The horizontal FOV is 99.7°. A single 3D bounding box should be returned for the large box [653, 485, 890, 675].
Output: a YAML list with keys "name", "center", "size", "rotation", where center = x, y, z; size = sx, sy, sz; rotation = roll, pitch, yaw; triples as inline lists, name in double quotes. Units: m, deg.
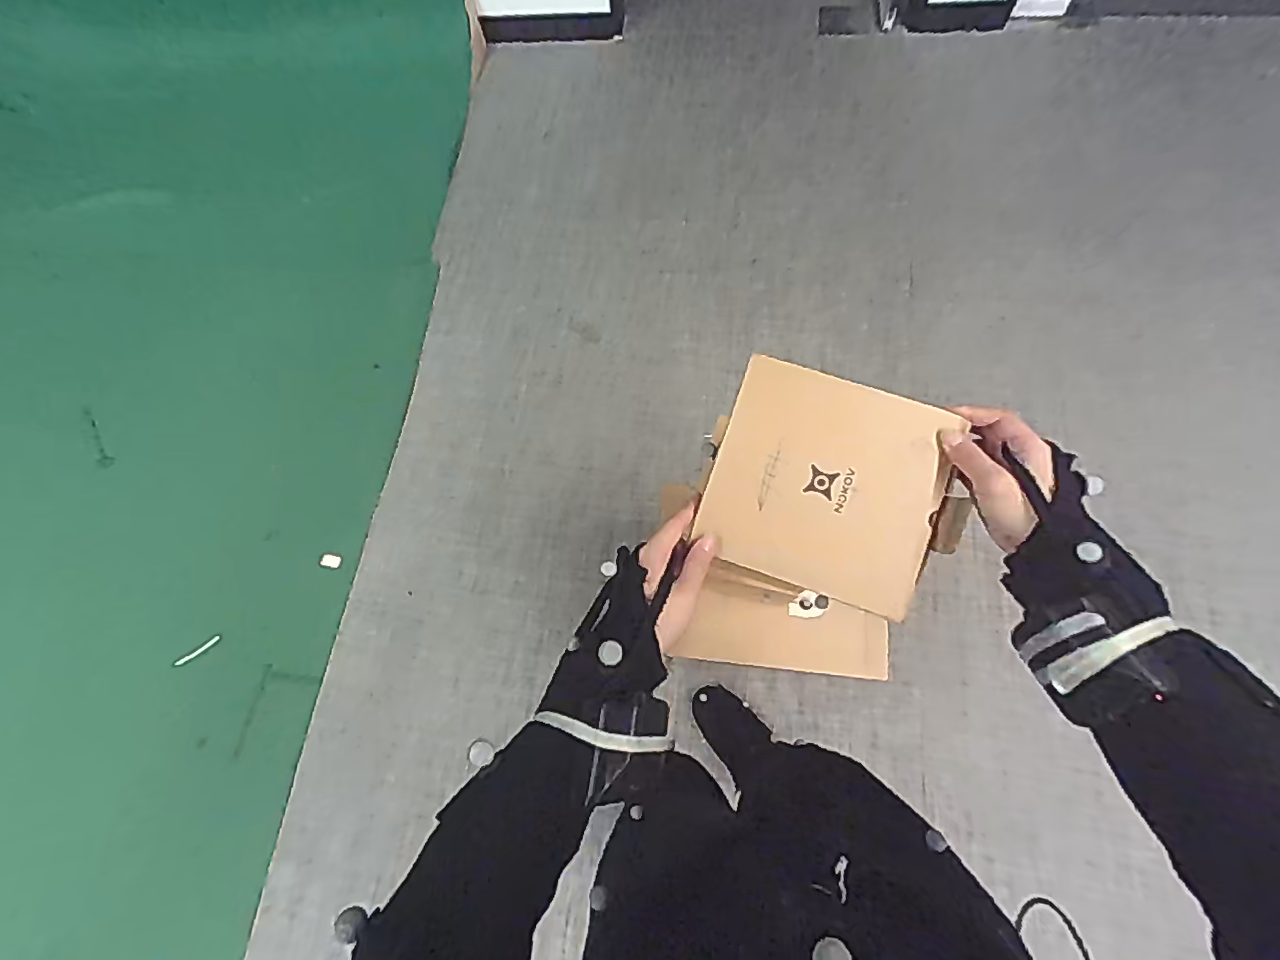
- name: "large box"
  center: [0.242, 0.213, 1.099]
  size: [0.408, 0.320, 0.320]
  rotation: [4, 73, 6]

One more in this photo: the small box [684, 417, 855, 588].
- name: "small box"
  center: [0.166, 0.039, 0.733]
  size: [0.179, 0.176, 0.168]
  rotation: [15, 74, 10]
